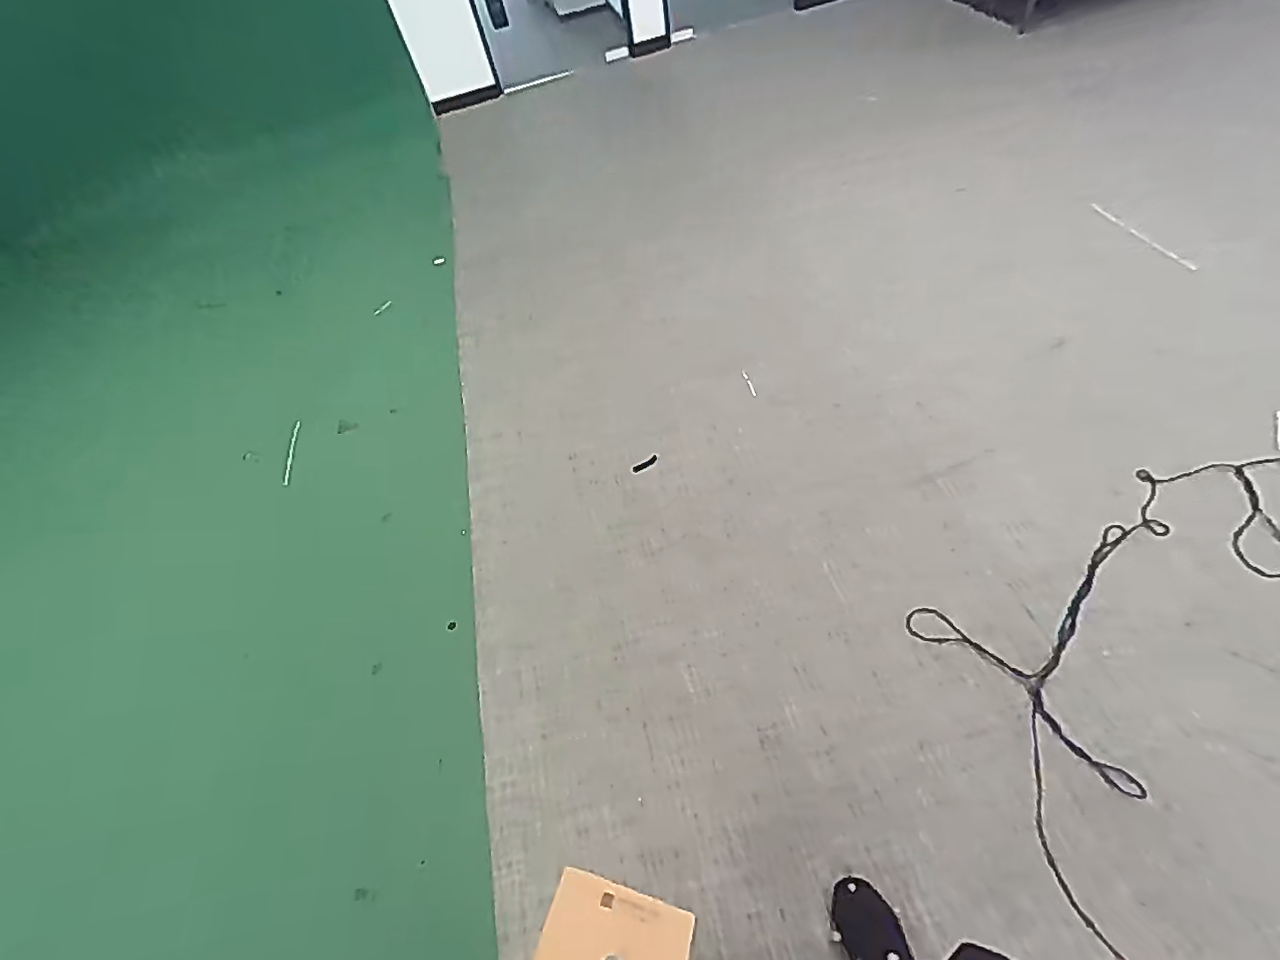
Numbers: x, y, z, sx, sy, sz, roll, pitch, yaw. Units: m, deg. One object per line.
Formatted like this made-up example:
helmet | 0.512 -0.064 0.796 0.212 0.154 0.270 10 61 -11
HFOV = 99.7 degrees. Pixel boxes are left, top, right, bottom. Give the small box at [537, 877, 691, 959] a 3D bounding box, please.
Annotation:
small box | -0.042 0.600 0.620 0.168 0.179 0.176 14 34 9
